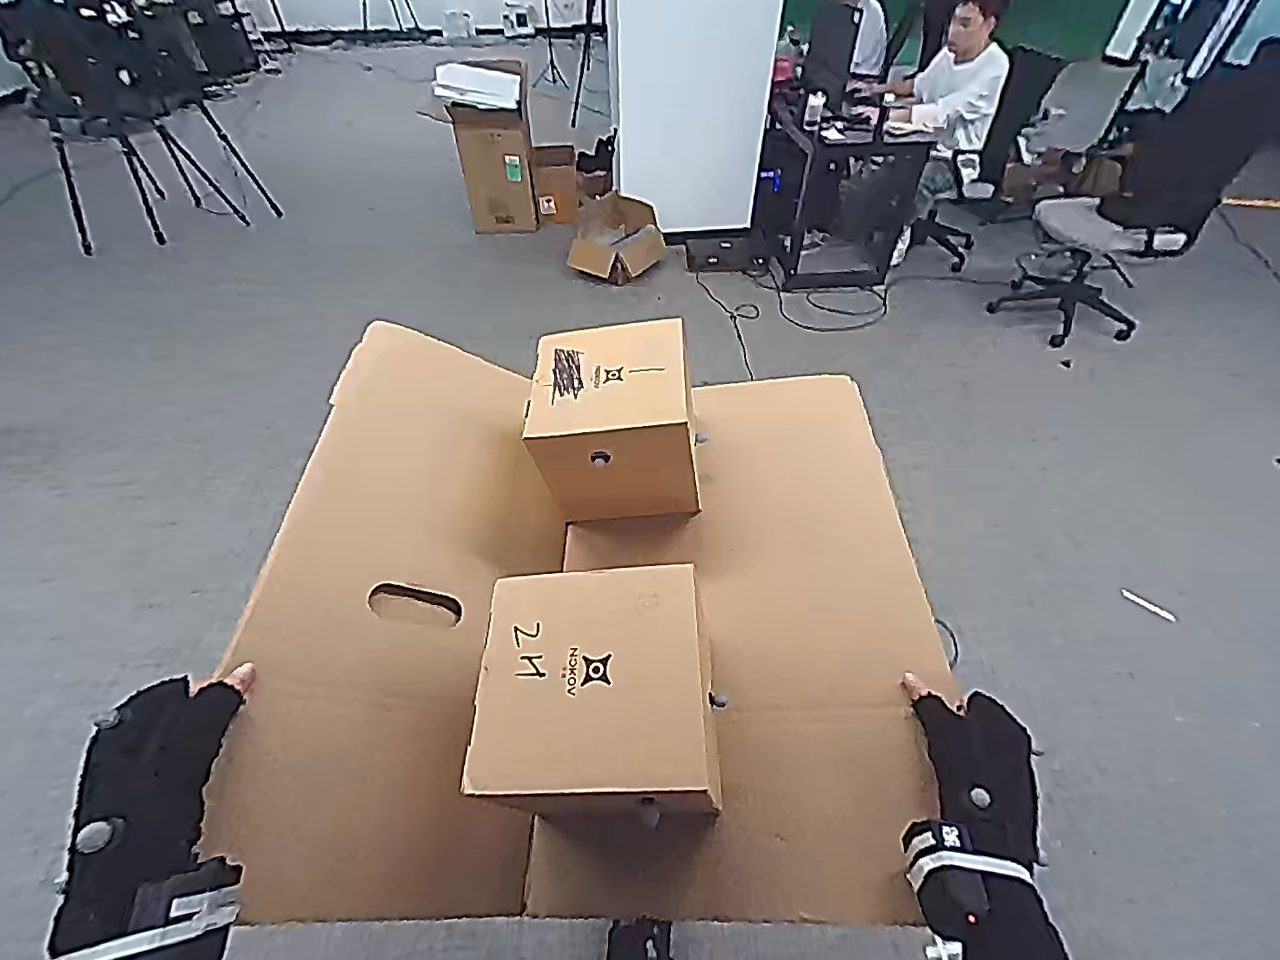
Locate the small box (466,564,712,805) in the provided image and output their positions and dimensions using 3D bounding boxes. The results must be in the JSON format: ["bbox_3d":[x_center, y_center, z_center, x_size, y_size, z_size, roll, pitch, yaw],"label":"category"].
[{"bbox_3d":[-0.027,0.190,0.491,0.179,0.176,0.168,-6,54,9],"label":"small box"}]

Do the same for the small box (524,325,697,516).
[{"bbox_3d":[-0.025,-0.066,0.677,0.179,0.176,0.168,-5,54,8],"label":"small box"}]
